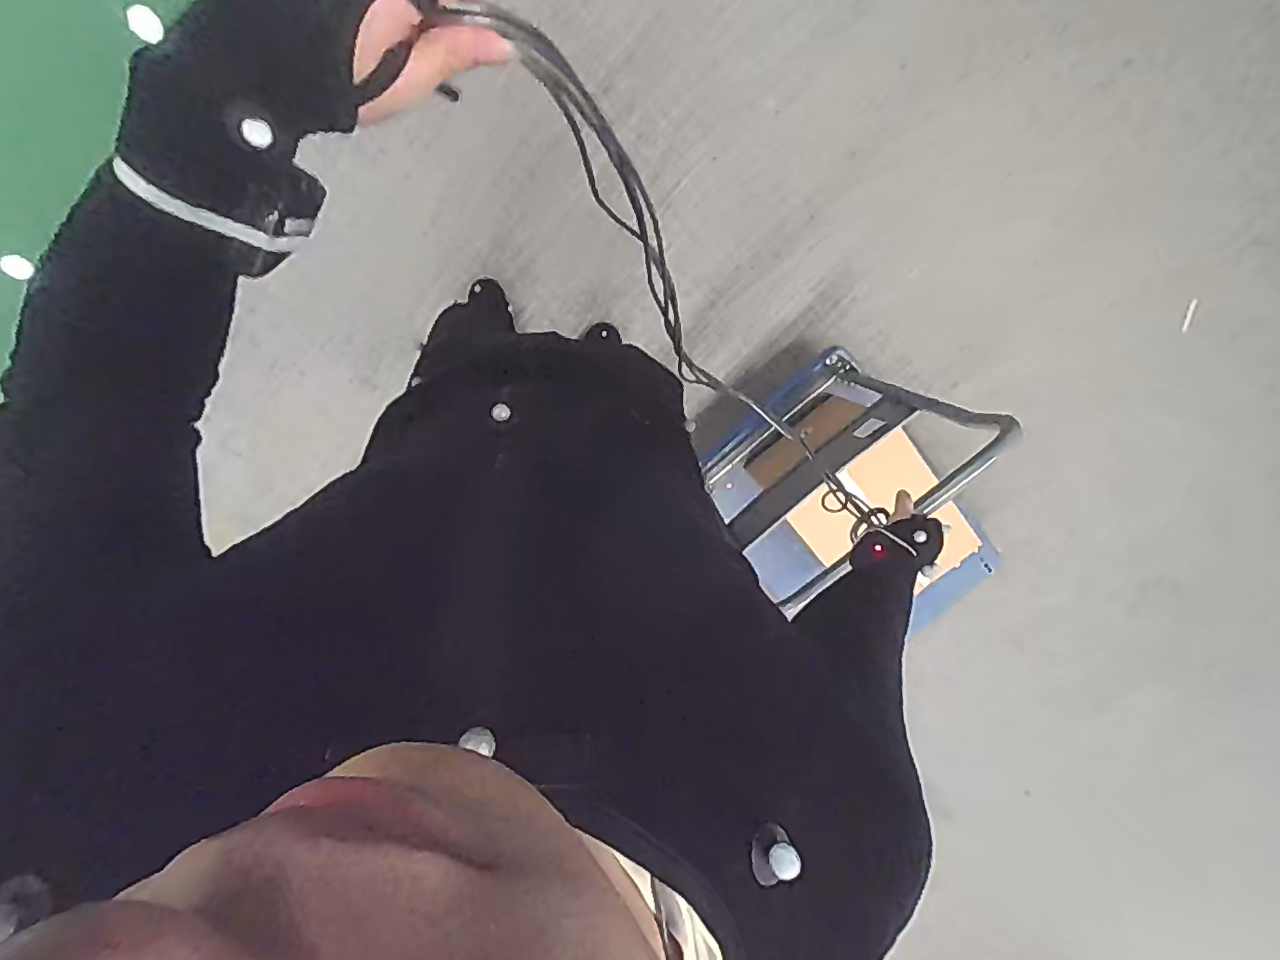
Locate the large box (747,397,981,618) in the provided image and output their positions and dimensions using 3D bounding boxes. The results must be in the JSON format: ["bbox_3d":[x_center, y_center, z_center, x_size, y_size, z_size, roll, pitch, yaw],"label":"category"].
[{"bbox_3d":[0.539,0.054,1.363,0.320,0.320,0.408,-40,106,9],"label":"large box"}]
